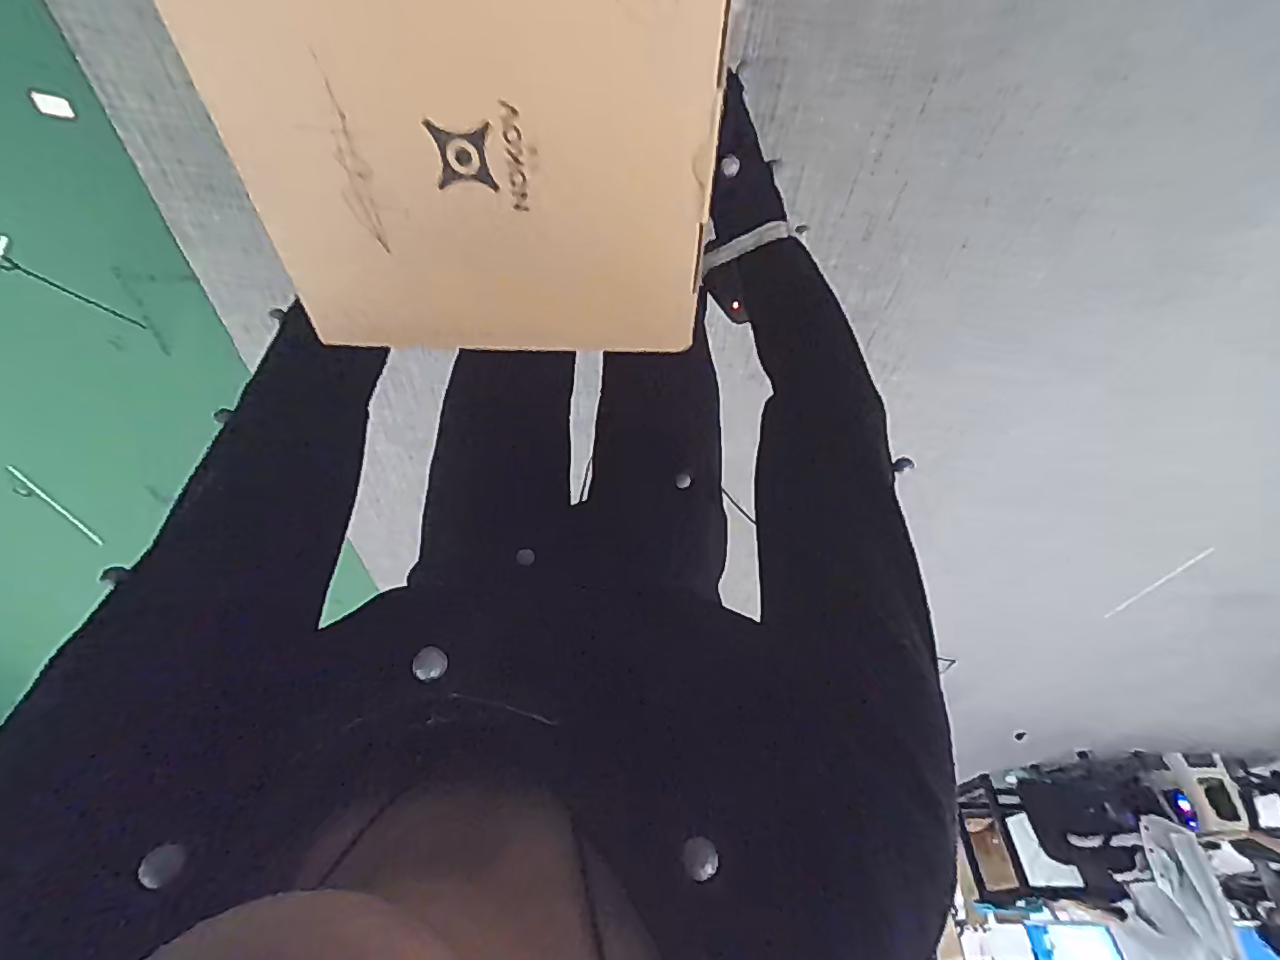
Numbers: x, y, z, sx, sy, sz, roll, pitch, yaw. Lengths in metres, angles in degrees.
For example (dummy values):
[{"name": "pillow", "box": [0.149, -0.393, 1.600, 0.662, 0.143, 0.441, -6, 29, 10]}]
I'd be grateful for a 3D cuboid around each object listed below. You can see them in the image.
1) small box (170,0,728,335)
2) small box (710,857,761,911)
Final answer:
[{"name": "small box", "box": [-0.062, -0.188, 0.249, 0.179, 0.176, 0.168, 2, 140, -2]}, {"name": "small box", "box": [0.384, 1.655, 2.214, 0.168, 0.176, 0.179, 4, 141, -4]}]
